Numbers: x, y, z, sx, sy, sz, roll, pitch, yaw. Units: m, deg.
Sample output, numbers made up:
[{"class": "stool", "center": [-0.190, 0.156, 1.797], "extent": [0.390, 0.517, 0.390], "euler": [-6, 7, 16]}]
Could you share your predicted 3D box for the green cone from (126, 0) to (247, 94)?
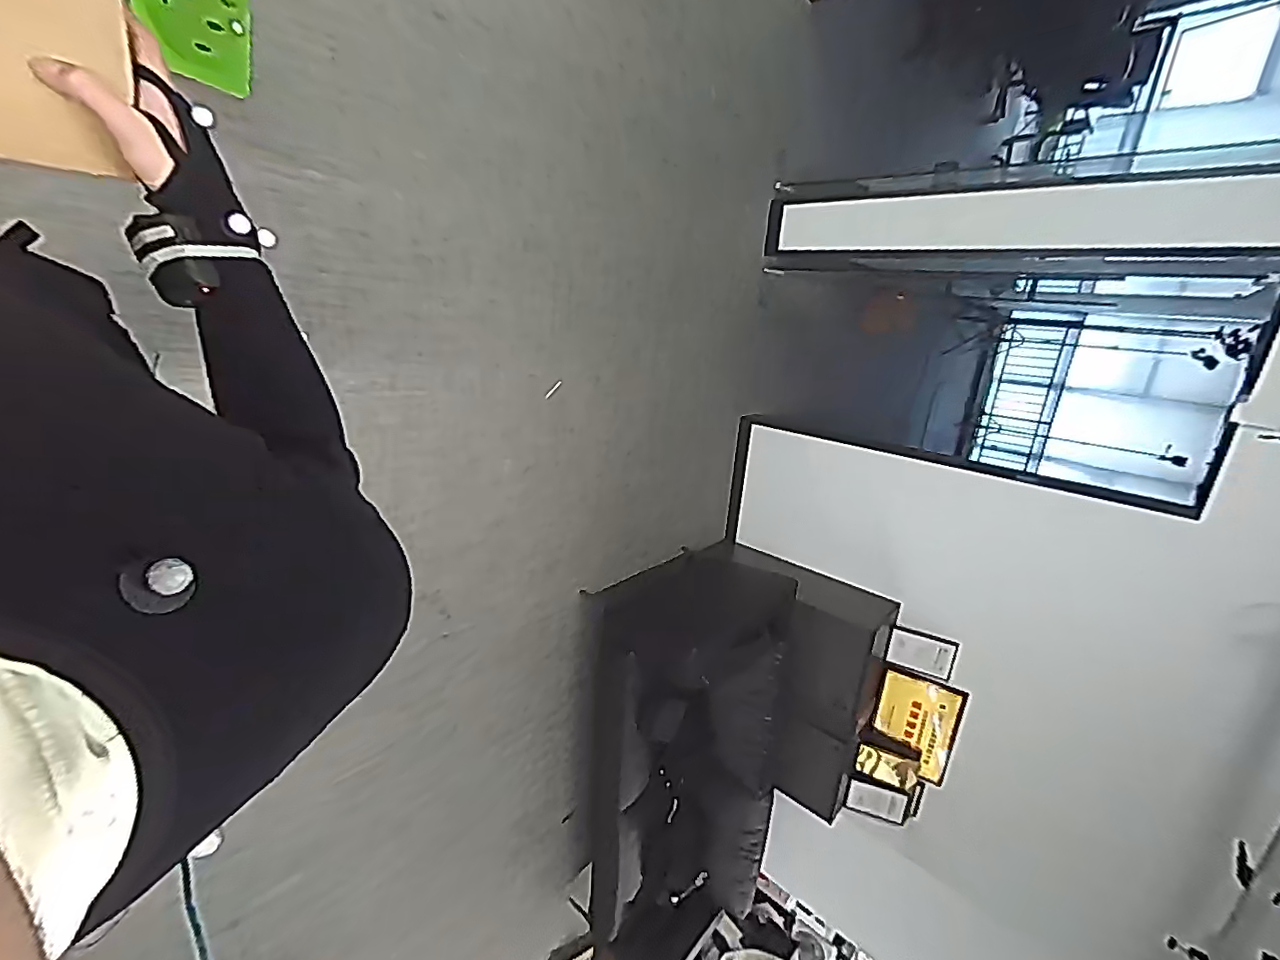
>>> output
[{"class": "green cone", "center": [-0.822, -0.921, 1.037], "extent": [0.200, 0.368, 0.202], "euler": [-7, 109, -50]}]
